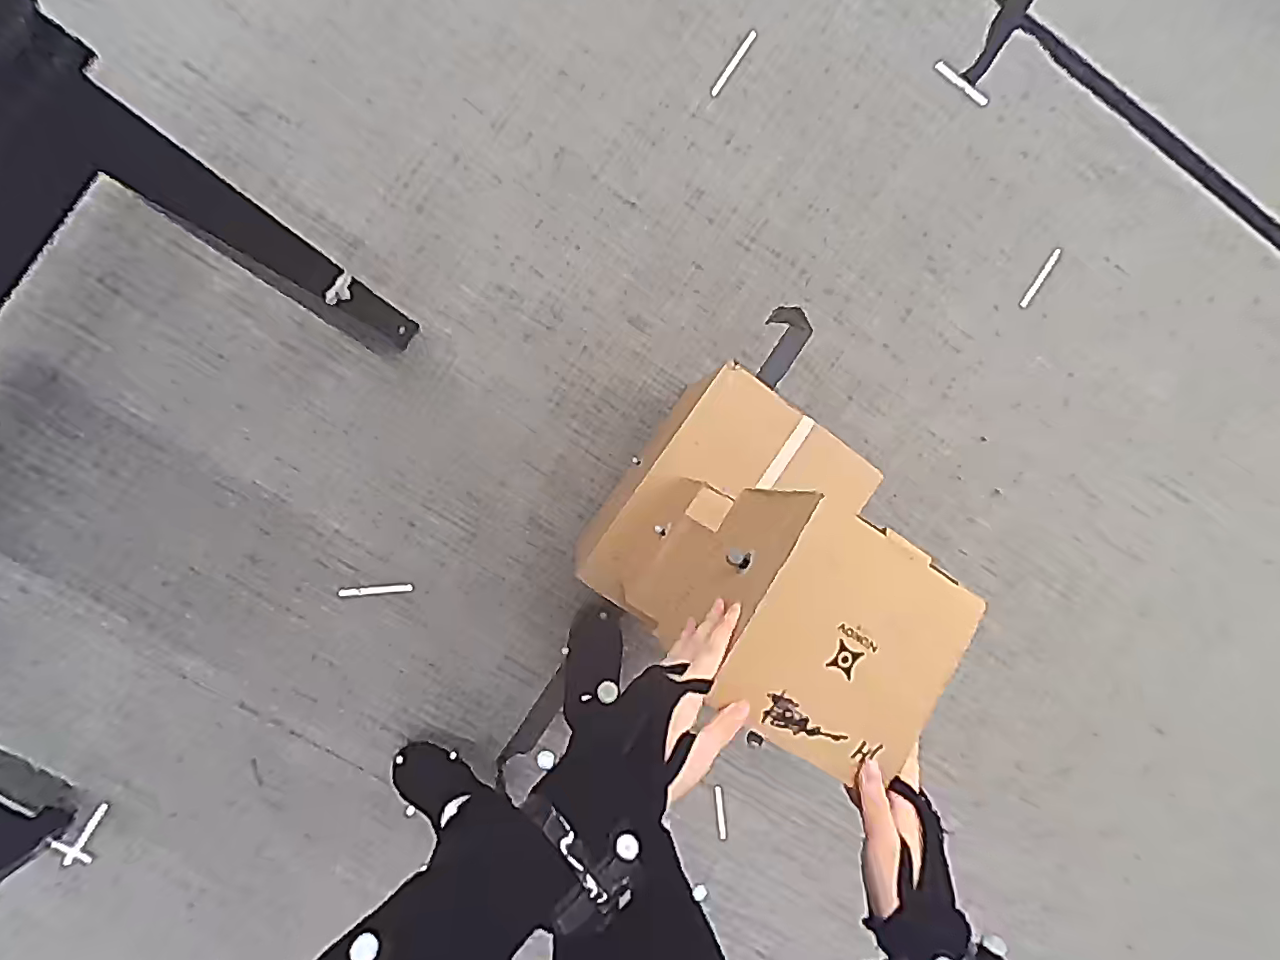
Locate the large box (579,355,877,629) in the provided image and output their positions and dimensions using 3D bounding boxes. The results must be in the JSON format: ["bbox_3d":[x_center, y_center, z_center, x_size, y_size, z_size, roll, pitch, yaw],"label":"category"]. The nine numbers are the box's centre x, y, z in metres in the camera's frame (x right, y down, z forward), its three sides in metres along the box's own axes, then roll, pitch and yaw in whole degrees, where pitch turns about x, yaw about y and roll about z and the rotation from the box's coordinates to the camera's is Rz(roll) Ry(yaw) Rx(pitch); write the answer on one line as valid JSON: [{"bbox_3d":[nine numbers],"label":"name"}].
[{"bbox_3d":[0.124,0.053,0.973,0.320,0.320,0.408,35,88,-8],"label":"large box"}]

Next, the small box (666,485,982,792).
[{"bbox_3d":[0.142,0.118,0.478,0.168,0.176,0.179,33,84,-8],"label":"small box"}]

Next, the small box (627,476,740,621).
[{"bbox_3d":[0.093,0.107,0.725,0.168,0.176,0.179,34,89,-5],"label":"small box"}]
